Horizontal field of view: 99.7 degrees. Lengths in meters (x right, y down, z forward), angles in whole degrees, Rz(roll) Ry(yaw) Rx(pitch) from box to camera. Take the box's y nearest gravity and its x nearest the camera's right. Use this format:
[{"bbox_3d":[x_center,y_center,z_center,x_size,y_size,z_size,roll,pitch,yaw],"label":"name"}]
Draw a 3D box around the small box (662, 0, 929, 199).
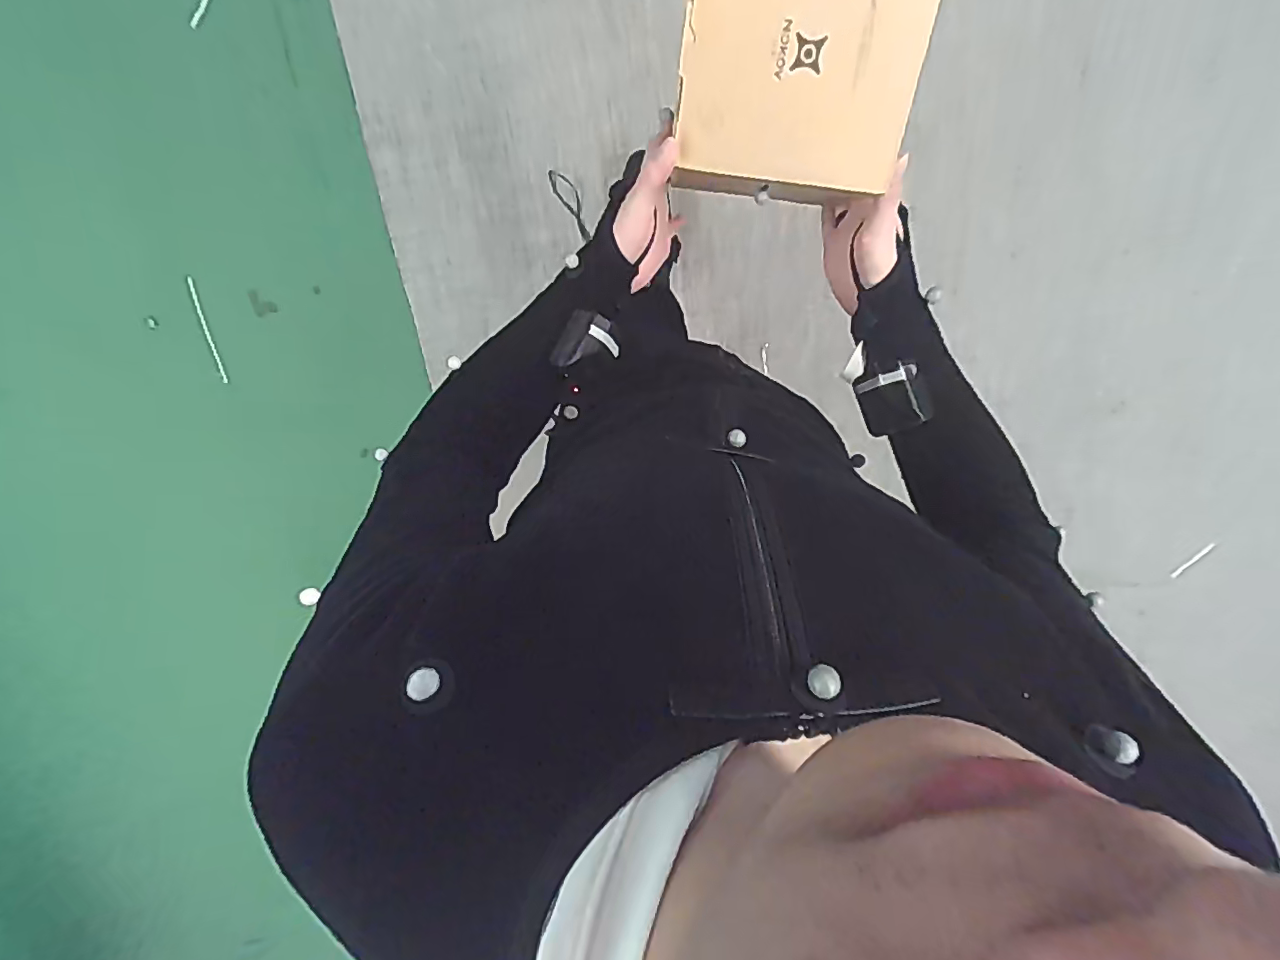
[{"bbox_3d":[0.119,-0.348,0.469,0.179,0.176,0.168,8,115,1],"label":"small box"}]
